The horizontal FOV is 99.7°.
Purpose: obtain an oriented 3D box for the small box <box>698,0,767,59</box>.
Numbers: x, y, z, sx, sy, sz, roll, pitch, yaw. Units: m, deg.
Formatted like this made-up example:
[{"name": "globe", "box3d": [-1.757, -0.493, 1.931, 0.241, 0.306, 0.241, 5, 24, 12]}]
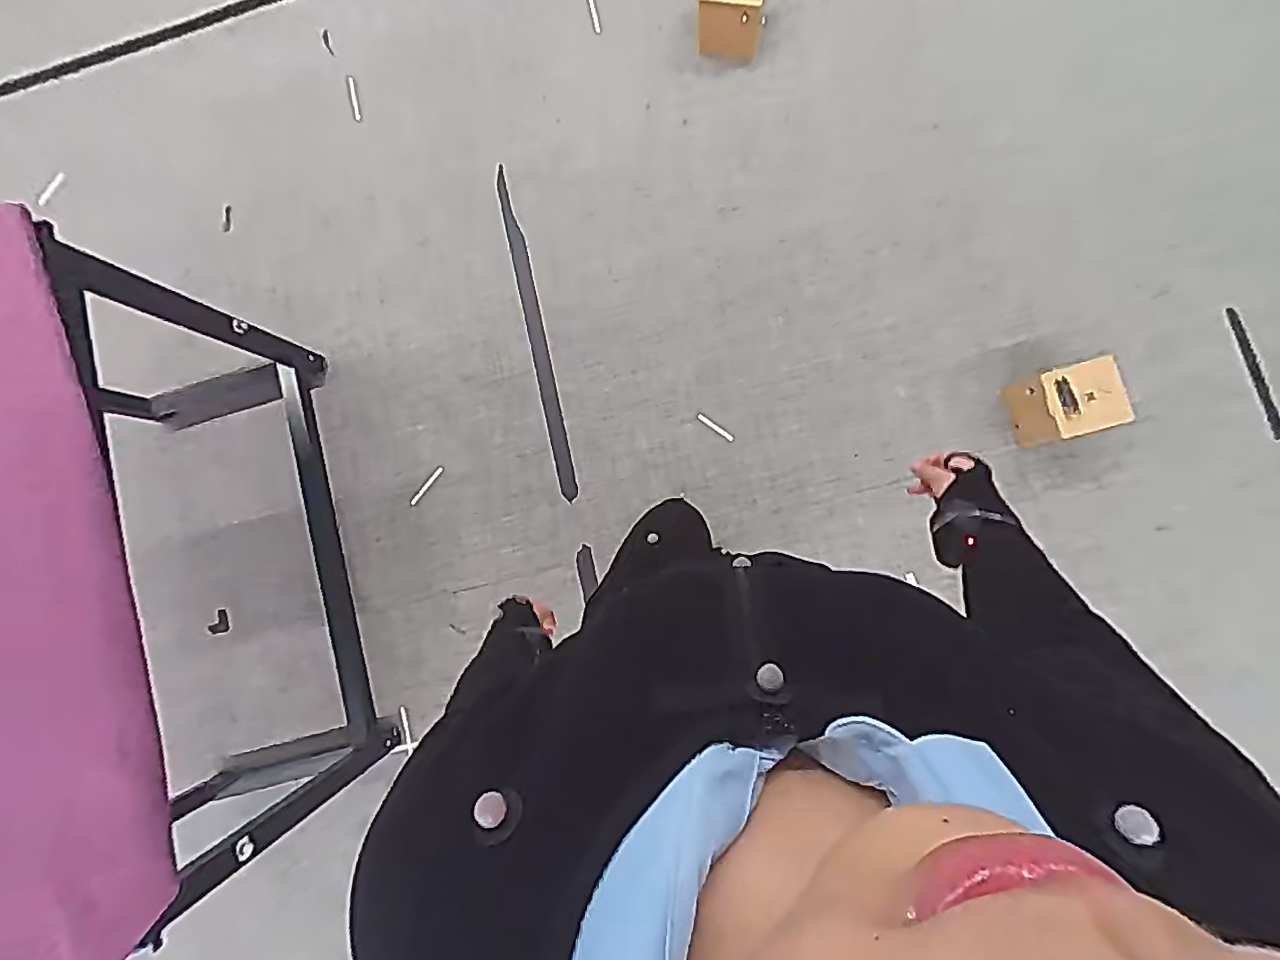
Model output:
[{"name": "small box", "box3d": [0.266, -1.353, 1.545, 0.179, 0.176, 0.168, 11, 86, 6]}]
